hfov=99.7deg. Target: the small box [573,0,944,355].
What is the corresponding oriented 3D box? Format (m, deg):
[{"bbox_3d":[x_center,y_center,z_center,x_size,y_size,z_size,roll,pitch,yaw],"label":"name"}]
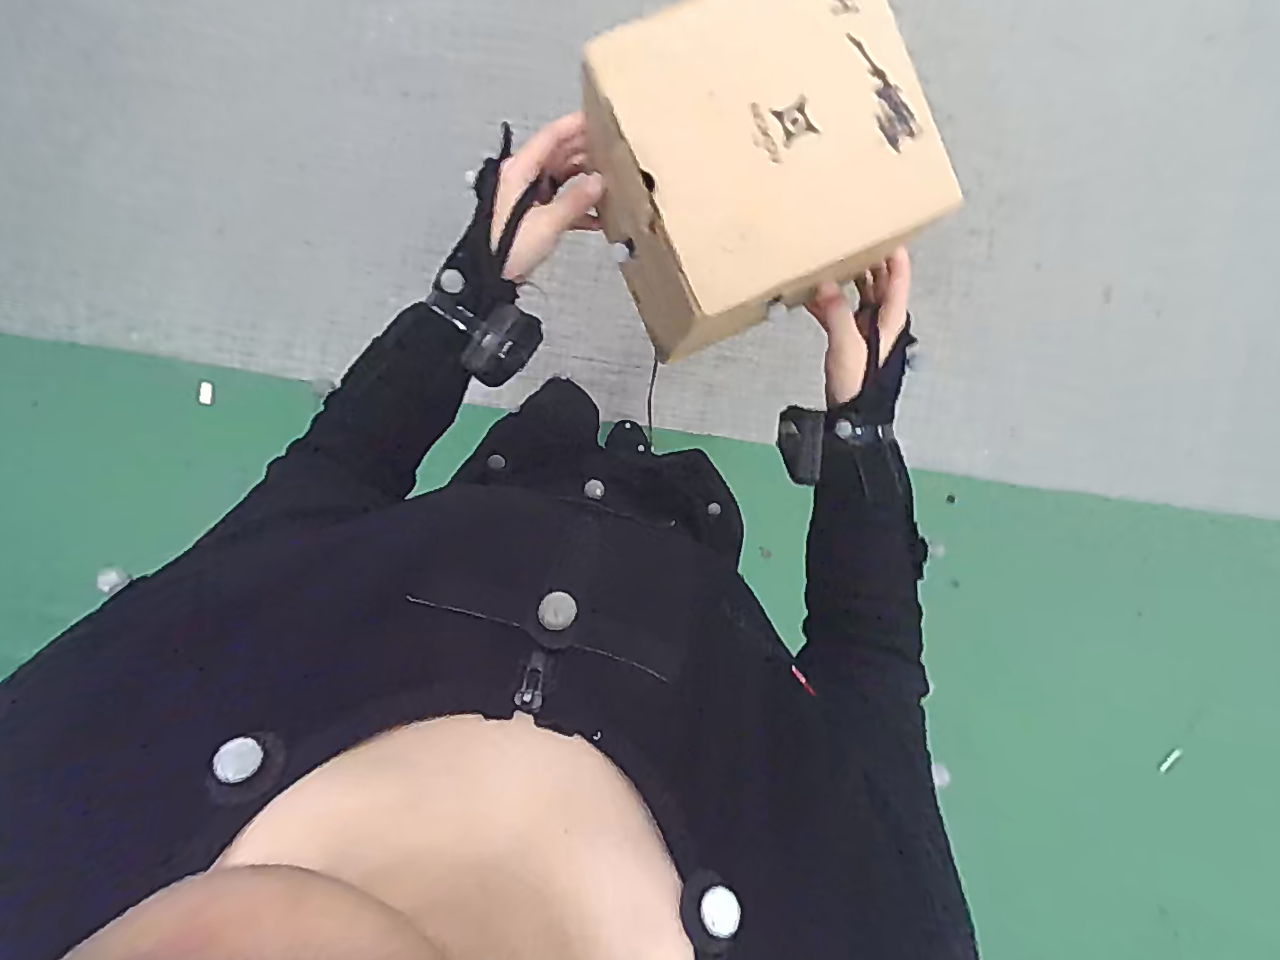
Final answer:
[{"bbox_3d":[0.068,-0.208,0.394,0.179,0.176,0.168,-25,95,-2],"label":"small box"}]
